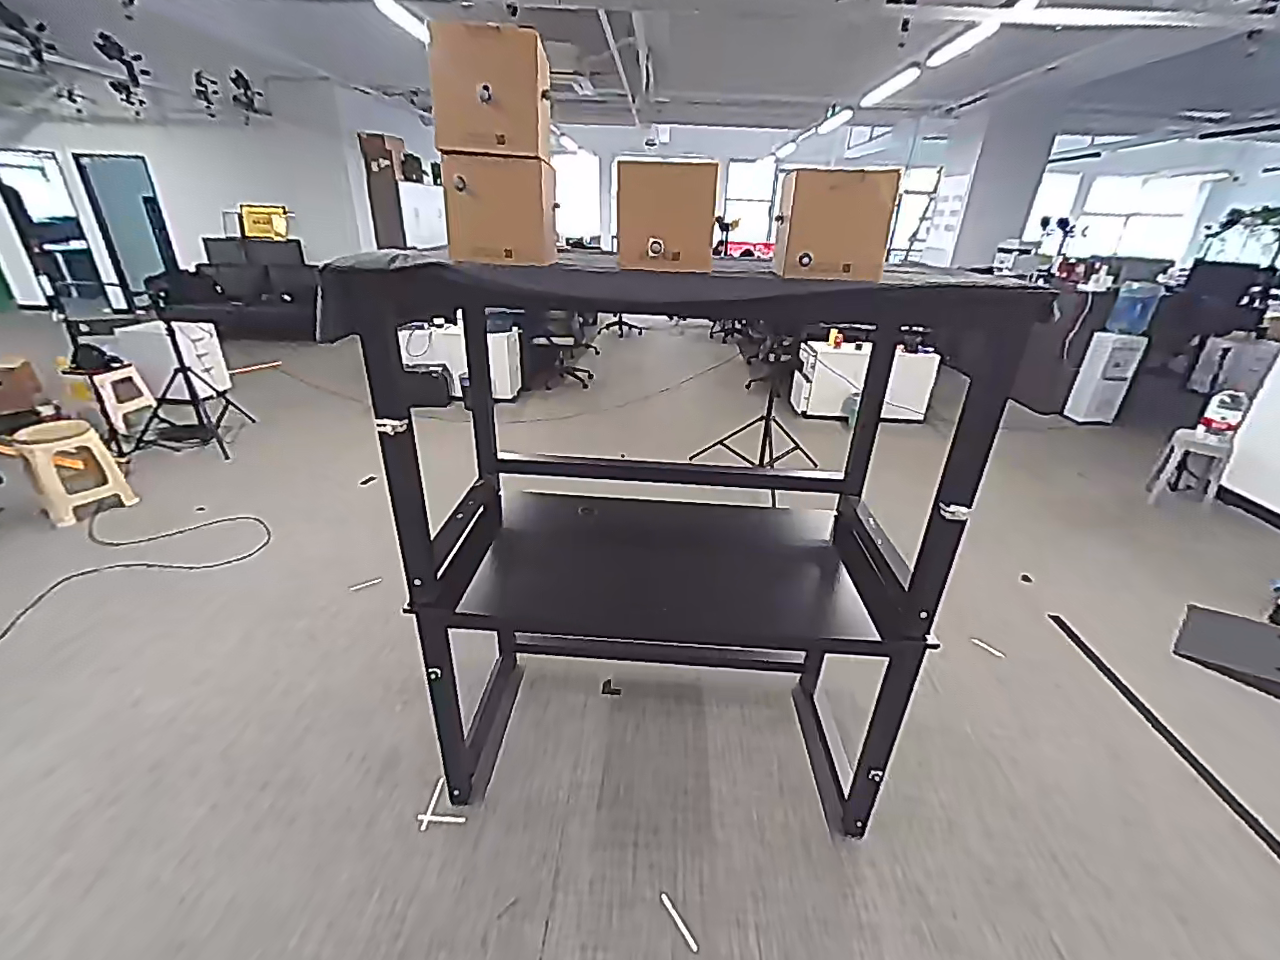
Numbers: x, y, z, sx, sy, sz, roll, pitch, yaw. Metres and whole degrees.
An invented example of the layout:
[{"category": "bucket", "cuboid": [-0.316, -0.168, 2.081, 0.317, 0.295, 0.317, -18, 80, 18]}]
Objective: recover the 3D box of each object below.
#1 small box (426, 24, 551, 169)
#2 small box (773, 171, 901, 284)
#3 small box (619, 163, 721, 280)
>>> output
[{"category": "small box", "cuboid": [-0.238, -0.621, 0.898, 0.168, 0.176, 0.179, 2, 25, -5]}, {"category": "small box", "cuboid": [0.337, -0.444, 0.961, 0.168, 0.176, 0.179, 4, 25, 4]}, {"category": "small box", "cuboid": [0.054, -0.456, 0.965, 0.168, 0.176, 0.179, 3, 25, 5]}]
